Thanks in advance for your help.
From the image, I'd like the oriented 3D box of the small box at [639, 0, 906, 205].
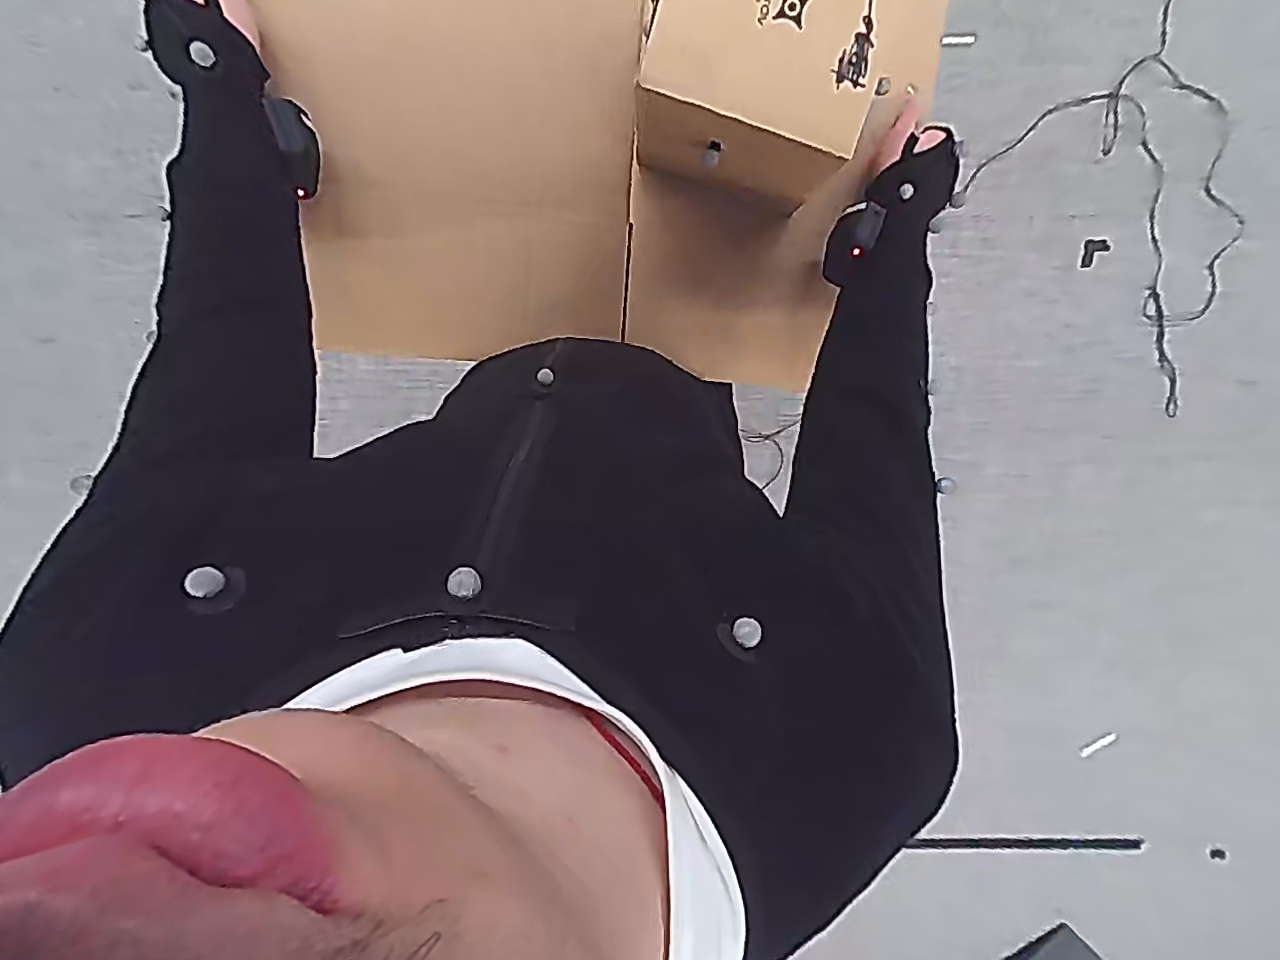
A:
[{"bbox_3d":[0.107,-0.367,0.476,0.179,0.176,0.168,17,103,-3],"label":"small box"}]
